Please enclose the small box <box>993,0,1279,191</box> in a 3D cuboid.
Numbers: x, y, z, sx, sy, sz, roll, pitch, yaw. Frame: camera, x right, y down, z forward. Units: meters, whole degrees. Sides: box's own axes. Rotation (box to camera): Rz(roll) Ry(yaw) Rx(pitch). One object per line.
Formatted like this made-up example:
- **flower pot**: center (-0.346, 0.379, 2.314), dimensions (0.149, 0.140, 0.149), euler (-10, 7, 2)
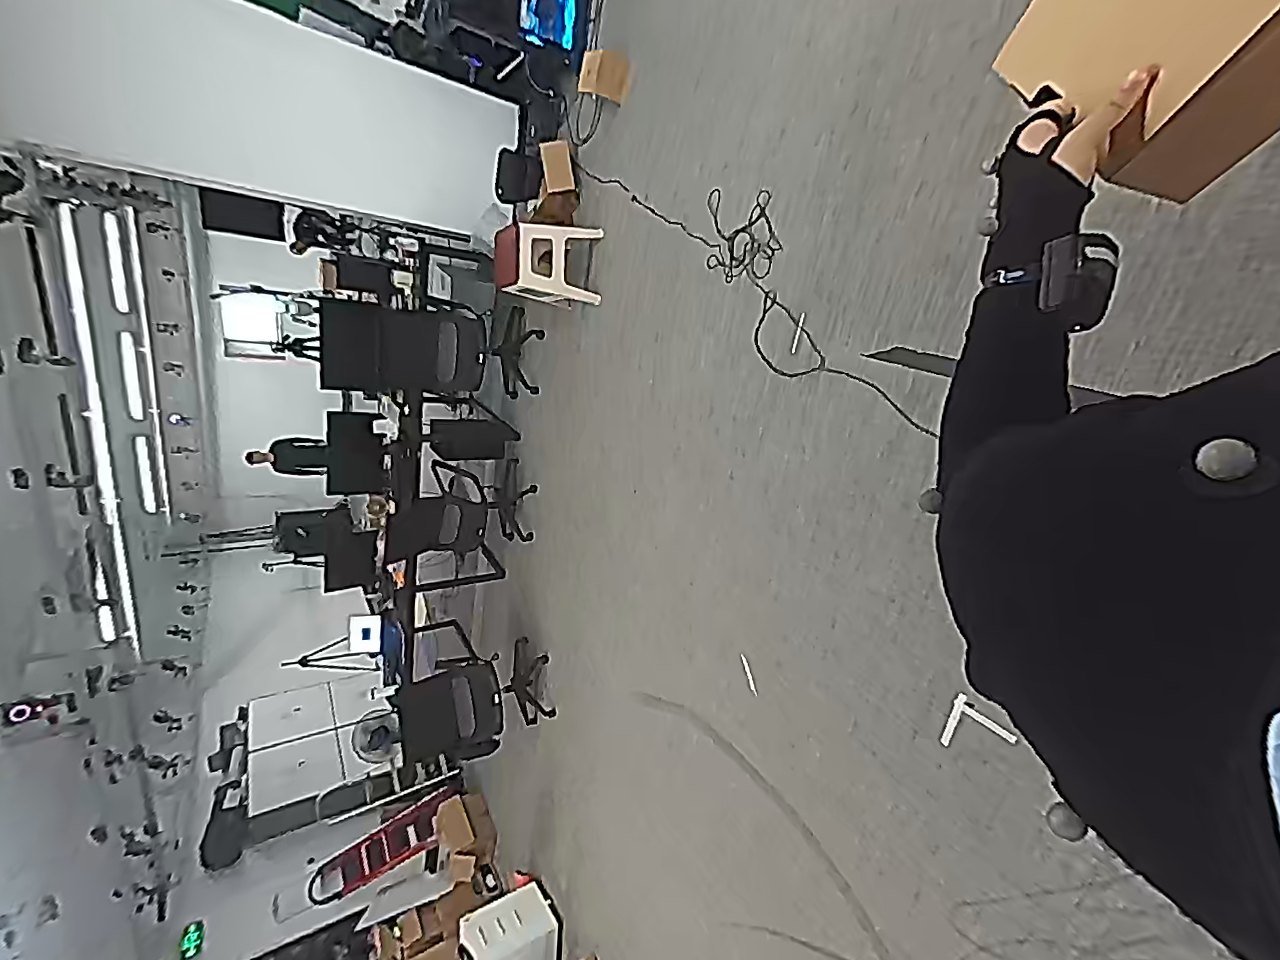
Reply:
- **small box**: center (0.450, -0.371, 0.437), dimensions (0.179, 0.176, 0.168), euler (-53, 51, 53)
